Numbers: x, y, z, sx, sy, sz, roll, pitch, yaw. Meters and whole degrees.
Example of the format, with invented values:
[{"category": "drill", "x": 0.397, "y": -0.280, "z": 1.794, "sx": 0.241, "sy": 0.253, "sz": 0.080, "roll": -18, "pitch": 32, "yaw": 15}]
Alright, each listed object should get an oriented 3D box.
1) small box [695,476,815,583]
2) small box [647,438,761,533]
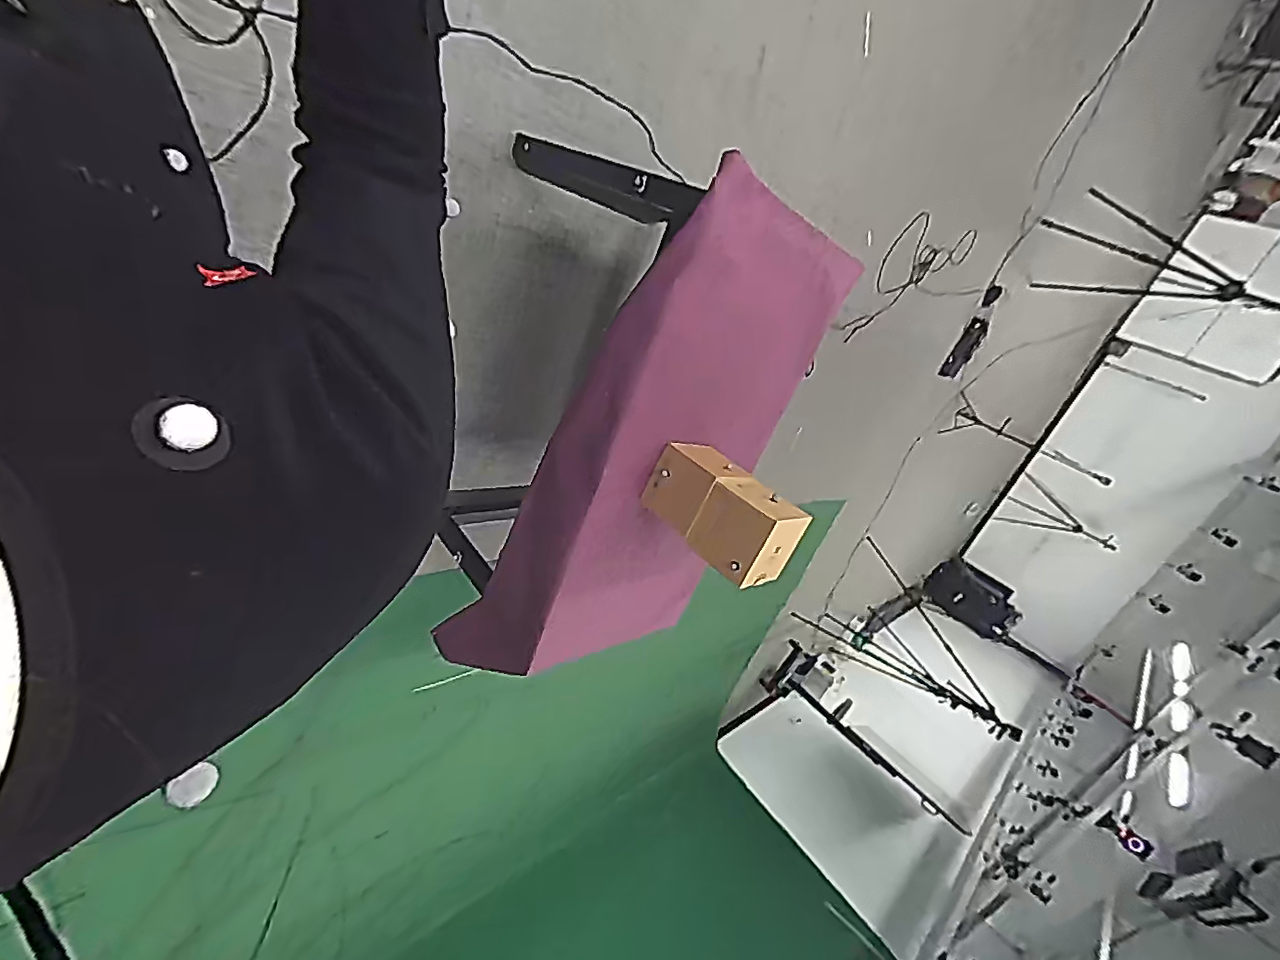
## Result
[{"category": "small box", "x": 0.251, "y": 0.101, "z": 1.209, "sx": 0.168, "sy": 0.176, "sz": 0.179, "roll": 0, "pitch": 122, "yaw": -47}, {"category": "small box", "x": 0.151, "y": 0.010, "z": 1.298, "sx": 0.179, "sy": 0.176, "sz": 0.168, "roll": 2, "pitch": 120, "yaw": -48}]
